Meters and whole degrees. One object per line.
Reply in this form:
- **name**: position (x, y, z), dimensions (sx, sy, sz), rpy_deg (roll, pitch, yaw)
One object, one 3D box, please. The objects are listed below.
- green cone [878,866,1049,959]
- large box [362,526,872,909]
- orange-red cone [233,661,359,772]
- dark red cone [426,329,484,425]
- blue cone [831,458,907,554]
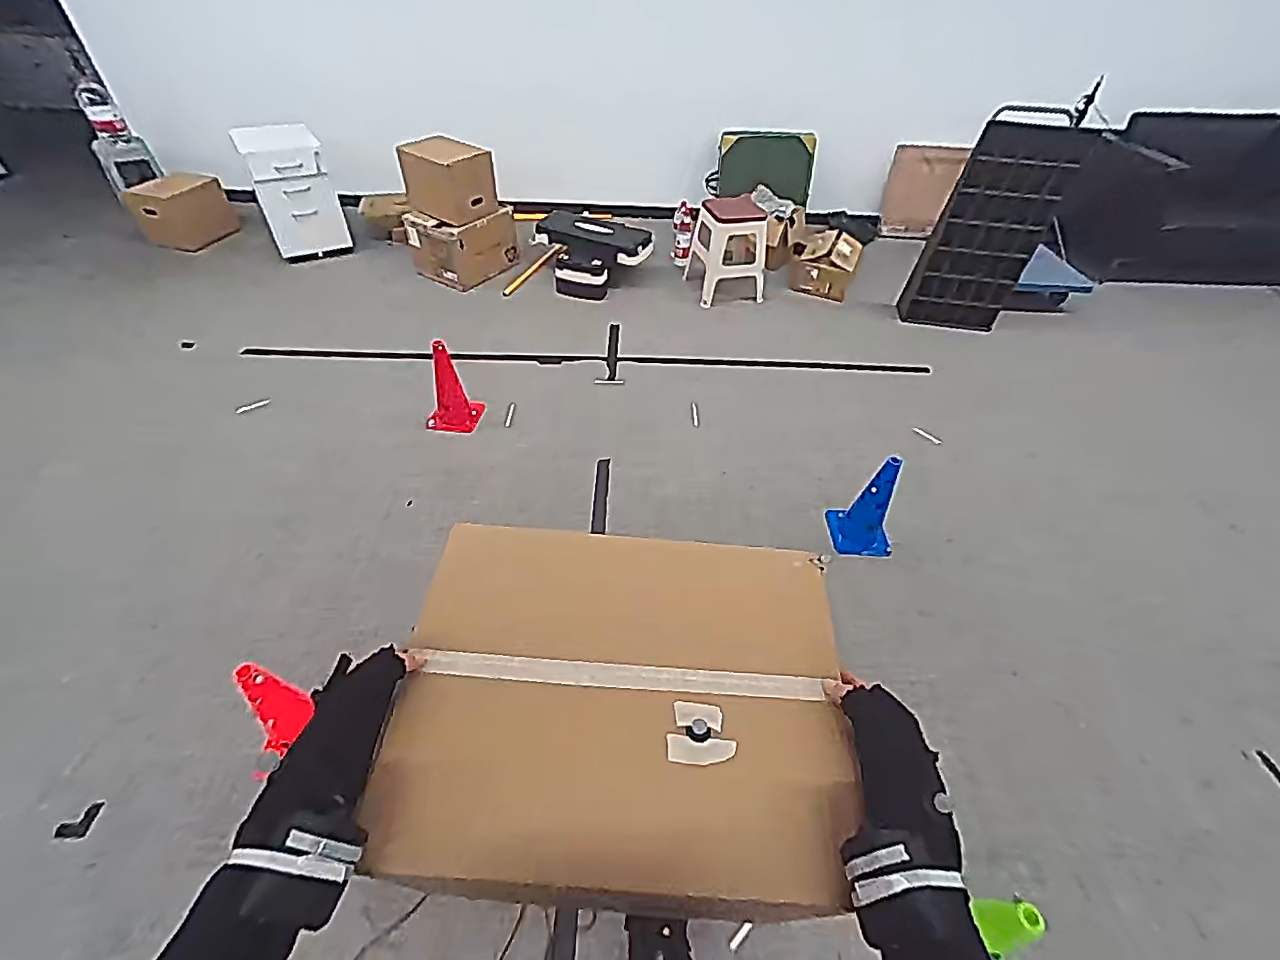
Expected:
- **green cone**: position (0.647, 0.851, 1.021), dimensions (0.202, 0.368, 0.200), rpy_deg (-26, 53, -28)
- **large box**: position (-0.020, 0.278, 0.621), dimensions (0.408, 0.320, 0.320), rpy_deg (5, 49, -1)
- **orange-red cone**: position (-0.836, 0.520, 1.259), dimensions (0.198, 0.360, 0.199), rpy_deg (-1, 47, -3)
- **dark red cone**: position (-0.763, -0.417, 2.158), dimensions (0.201, 0.394, 0.202), rpy_deg (7, 45, 1)
- **blue cone**: position (0.800, 0.072, 1.828), dimensions (0.192, 0.380, 0.193), rpy_deg (5, 45, 0)
